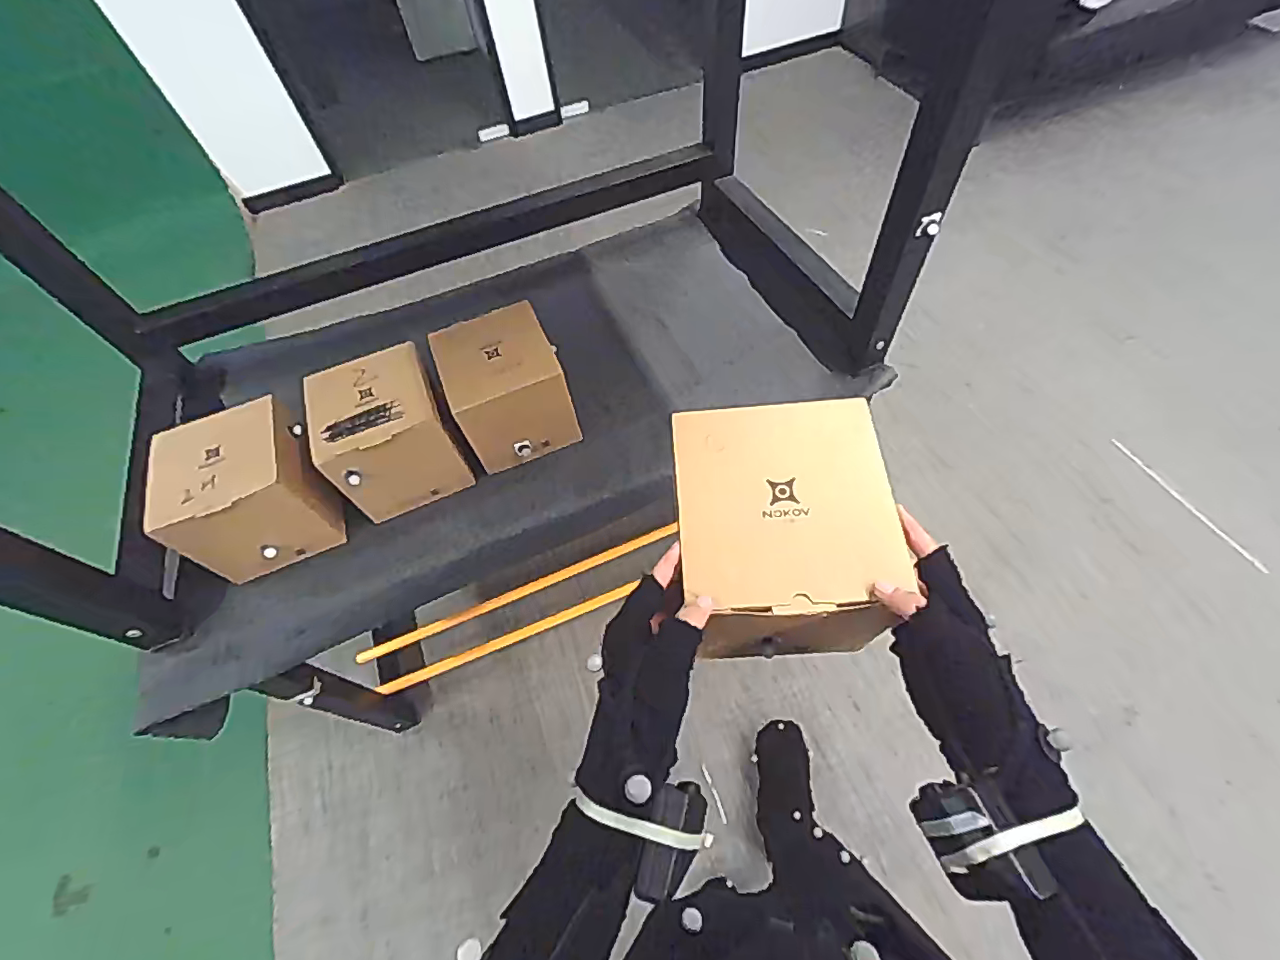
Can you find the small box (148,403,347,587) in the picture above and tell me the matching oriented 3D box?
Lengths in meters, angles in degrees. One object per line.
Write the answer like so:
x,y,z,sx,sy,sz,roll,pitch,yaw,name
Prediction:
-0.558,0.025,0.790,0.168,0.176,0.179,-22,58,-9,small box
